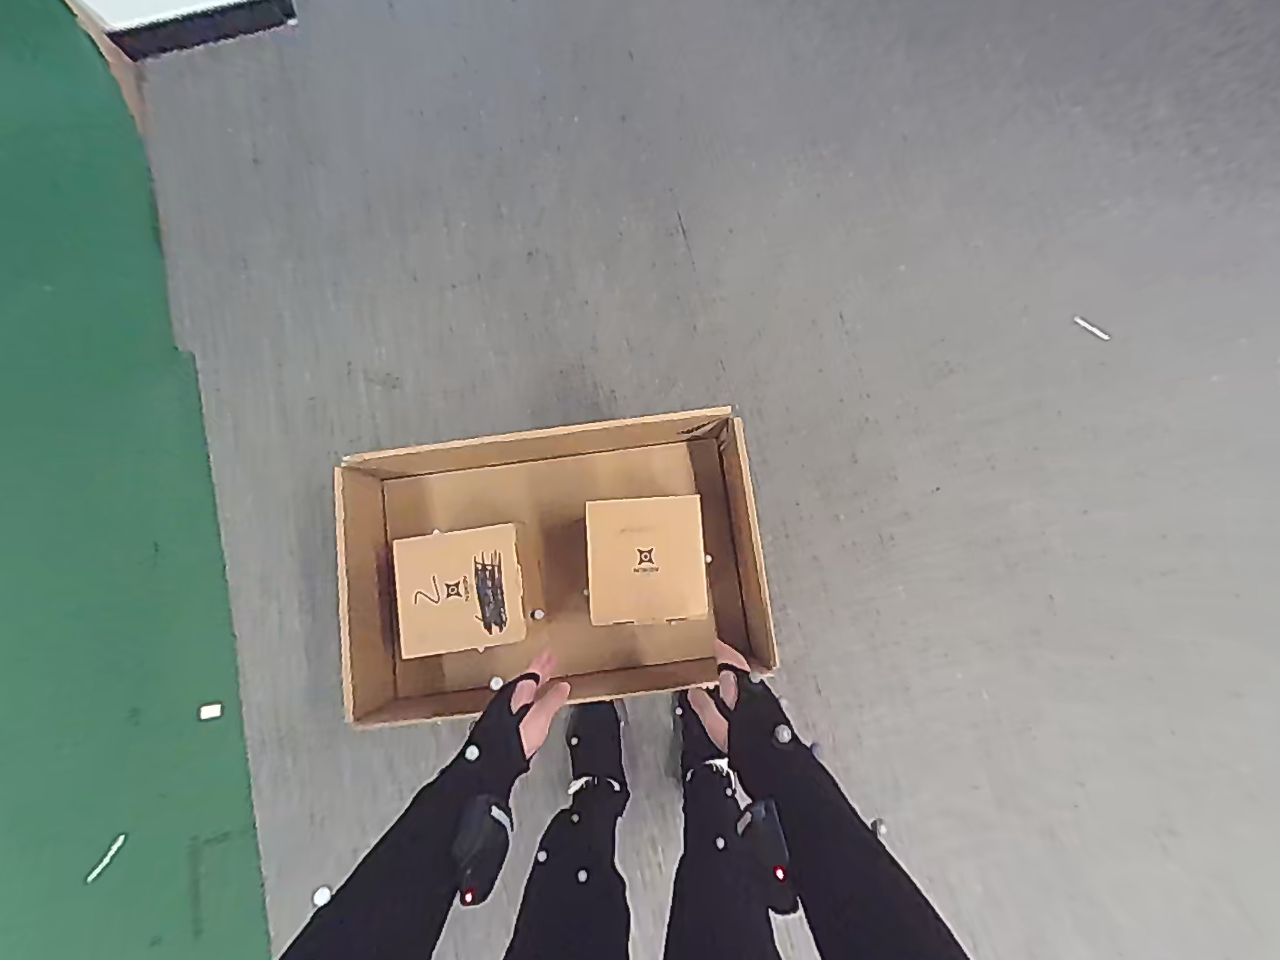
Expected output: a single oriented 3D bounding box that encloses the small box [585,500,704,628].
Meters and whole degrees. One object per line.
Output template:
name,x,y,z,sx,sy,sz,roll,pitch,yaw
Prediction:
small box,0.008,0.127,0.840,0.168,0.176,0.179,-3,82,0
